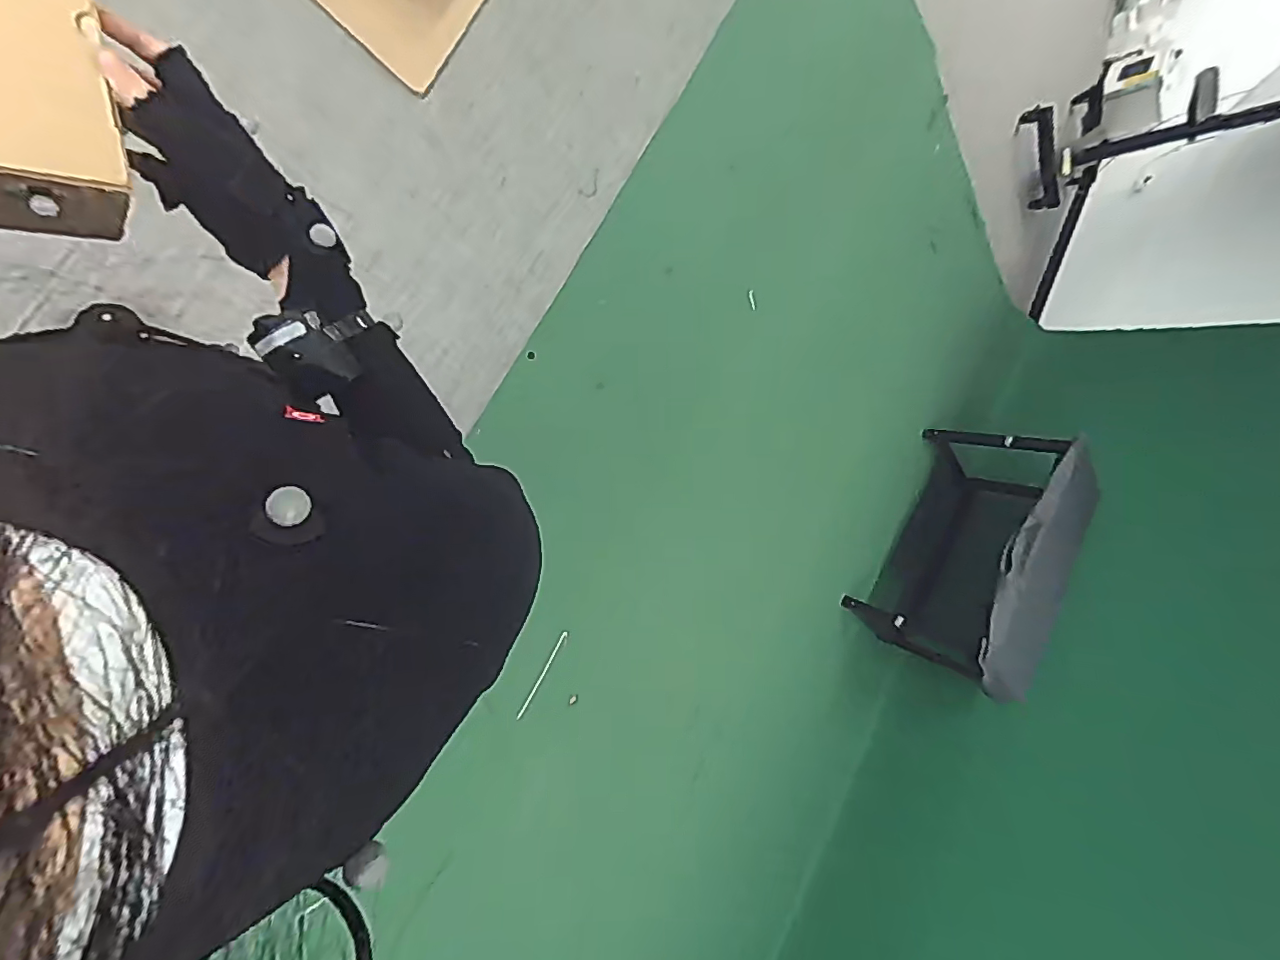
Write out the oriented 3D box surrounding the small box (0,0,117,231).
[{"bbox_3d":[-0.425,-0.249,0.297,0.179,0.176,0.168,-14,107,-44],"label":"small box"}]
